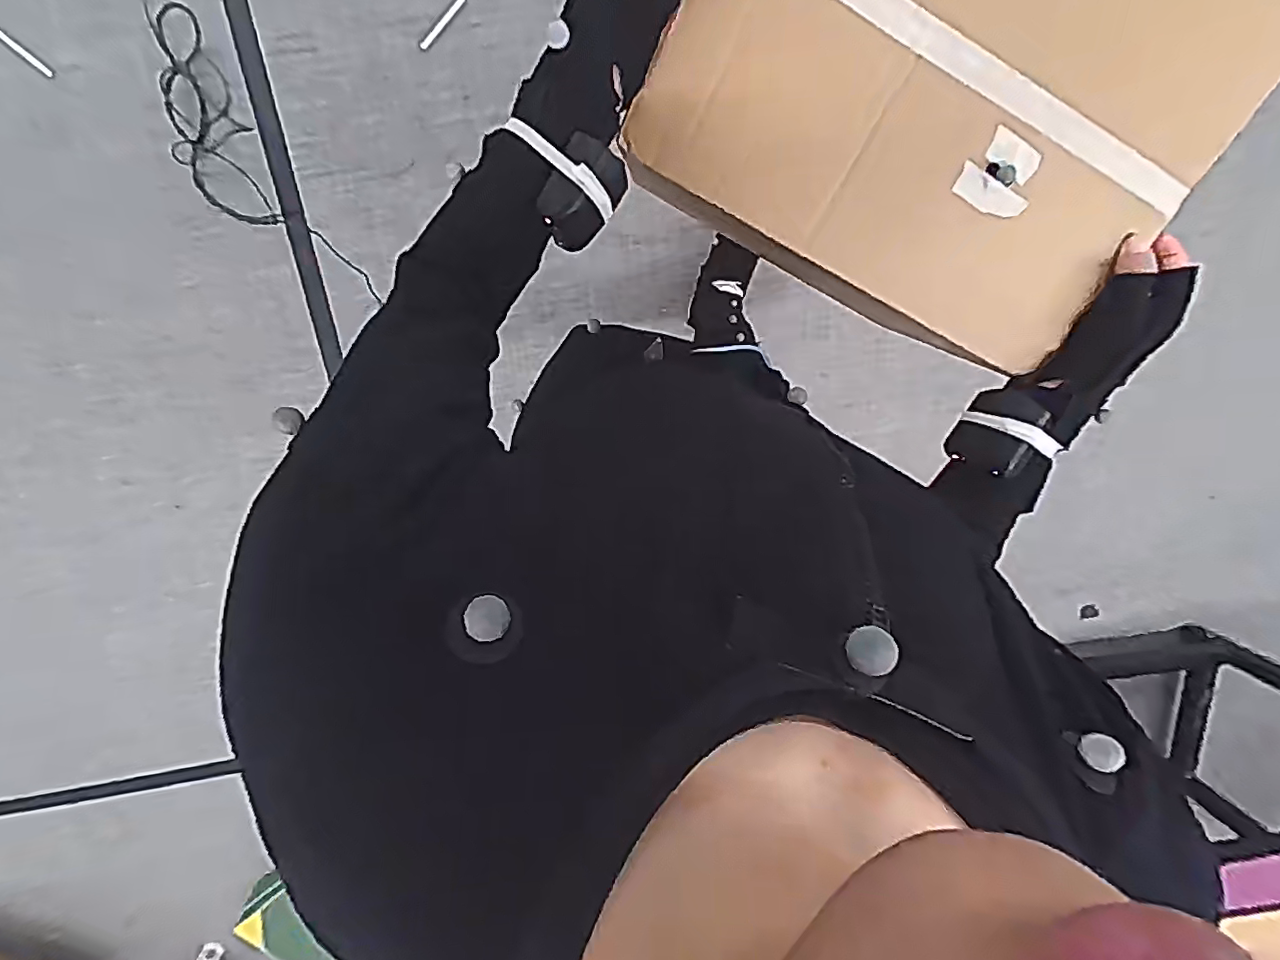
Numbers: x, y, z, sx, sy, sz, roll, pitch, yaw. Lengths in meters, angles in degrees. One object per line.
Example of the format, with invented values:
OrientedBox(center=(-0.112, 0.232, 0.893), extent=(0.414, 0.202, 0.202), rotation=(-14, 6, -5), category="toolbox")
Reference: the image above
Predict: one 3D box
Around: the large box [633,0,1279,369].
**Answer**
OrientedBox(center=(0.235, -0.363, 0.532), extent=(0.408, 0.320, 0.320), rotation=(25, 114, -11), category="large box")
